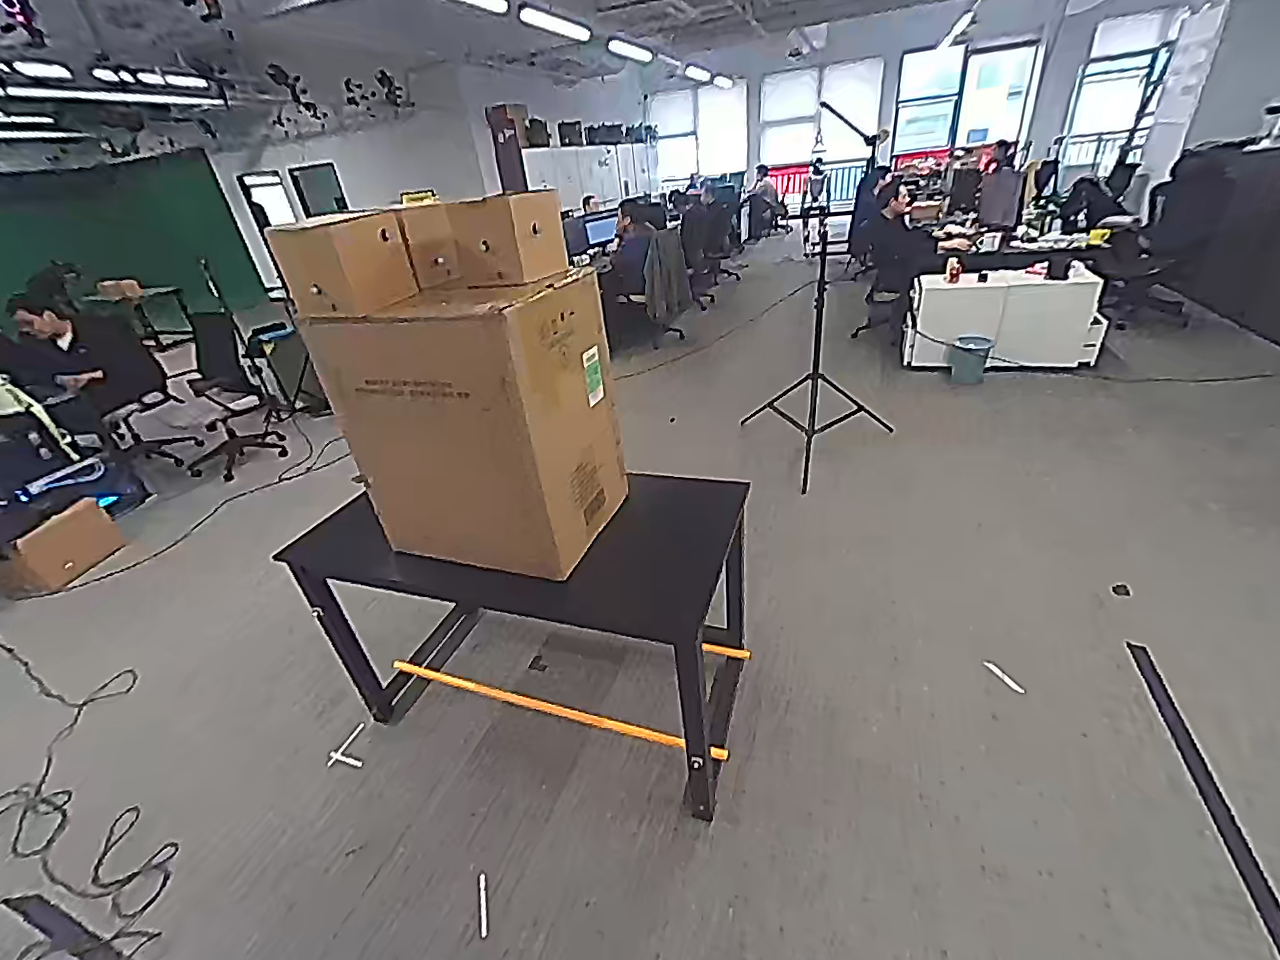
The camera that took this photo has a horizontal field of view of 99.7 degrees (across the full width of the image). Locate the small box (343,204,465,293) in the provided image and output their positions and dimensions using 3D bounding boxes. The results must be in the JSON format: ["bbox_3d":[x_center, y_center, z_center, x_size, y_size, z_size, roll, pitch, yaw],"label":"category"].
[{"bbox_3d":[-0.540,-0.538,1.259,0.179,0.176,0.168,7,32,20],"label":"small box"}]
